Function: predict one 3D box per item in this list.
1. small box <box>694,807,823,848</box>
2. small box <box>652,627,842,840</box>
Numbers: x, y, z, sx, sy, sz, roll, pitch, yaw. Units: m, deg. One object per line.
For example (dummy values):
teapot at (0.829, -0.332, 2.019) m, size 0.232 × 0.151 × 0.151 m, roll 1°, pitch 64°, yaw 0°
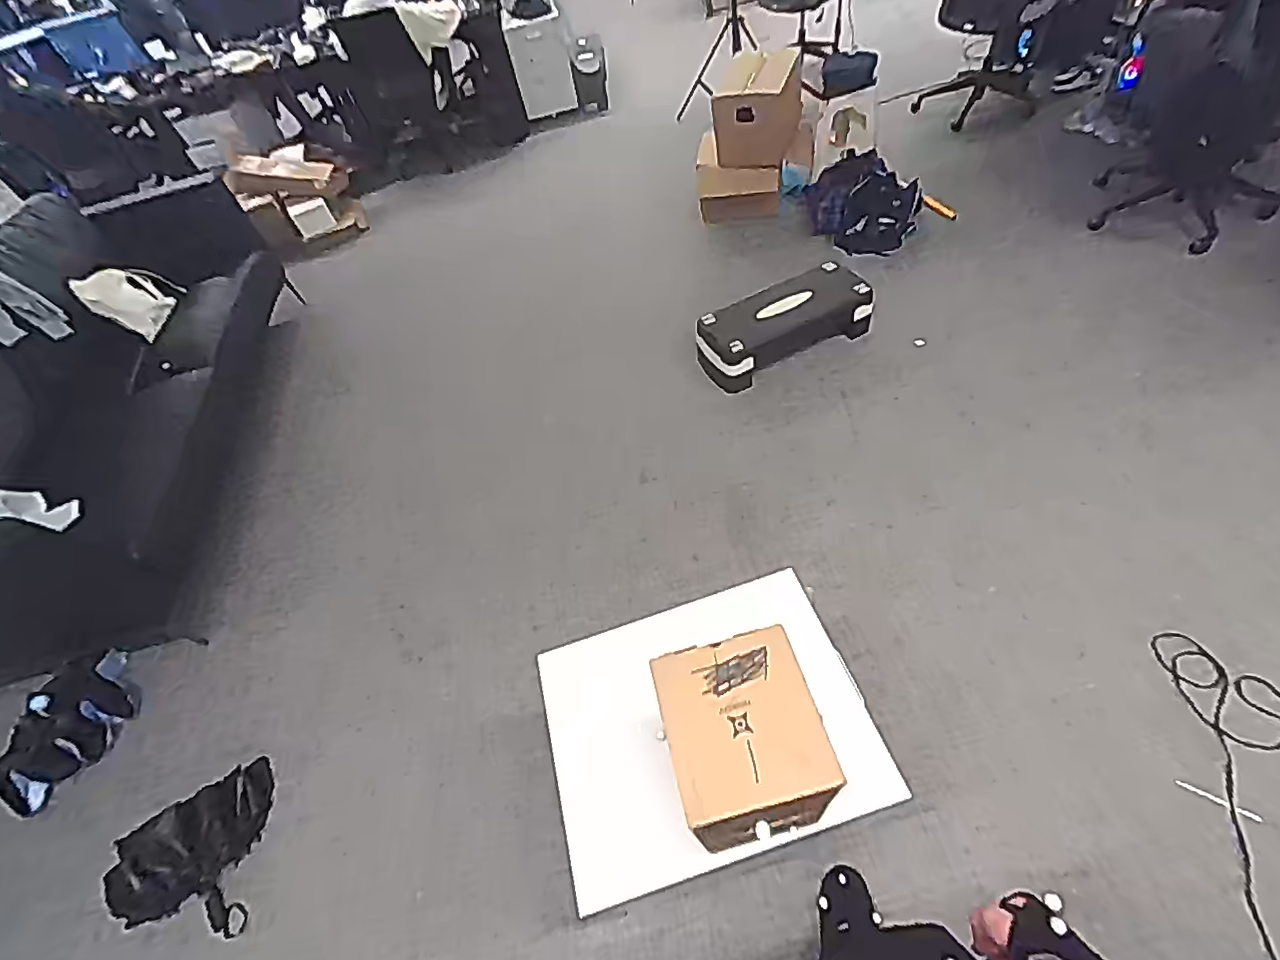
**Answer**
small box at (0.144, 0.408, 0.776) m, size 0.168 × 0.176 × 0.179 m, roll -15°, pitch 50°, yaw -2°
small box at (0.118, 0.306, 0.649) m, size 0.168 × 0.176 × 0.179 m, roll -15°, pitch 51°, yaw 0°
